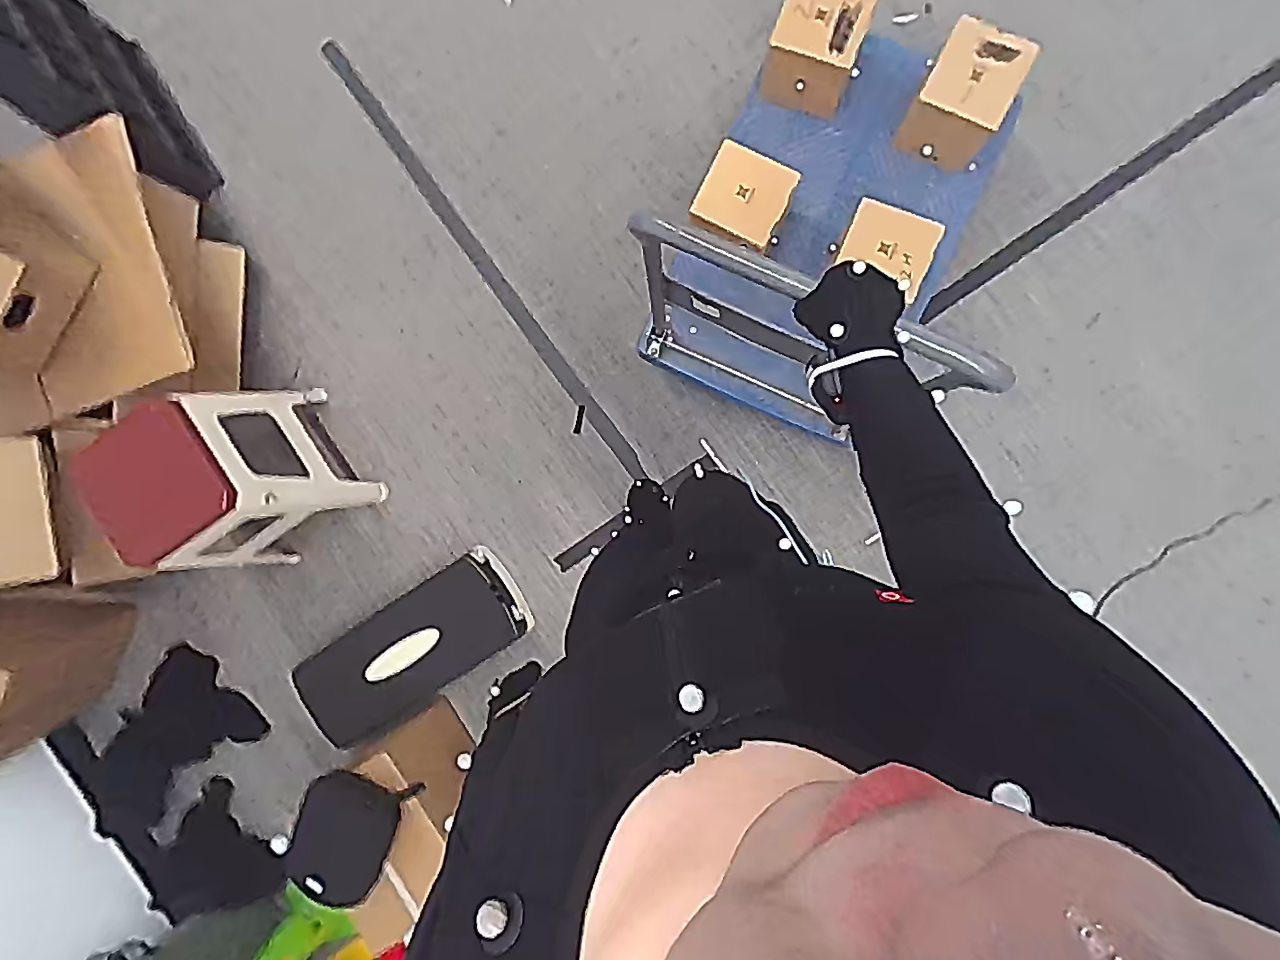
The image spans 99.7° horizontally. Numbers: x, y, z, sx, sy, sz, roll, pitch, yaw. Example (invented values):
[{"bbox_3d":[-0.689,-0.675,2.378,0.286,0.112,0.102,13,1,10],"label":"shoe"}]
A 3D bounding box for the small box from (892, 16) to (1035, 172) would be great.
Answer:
[{"bbox_3d":[0.664,-0.798,1.135,0.168,0.176,0.179,26,95,4],"label":"small box"}]

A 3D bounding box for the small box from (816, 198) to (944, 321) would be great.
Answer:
[{"bbox_3d":[0.502,-0.462,1.163,0.179,0.176,0.168,23,94,4],"label":"small box"}]

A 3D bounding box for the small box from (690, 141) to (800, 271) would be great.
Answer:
[{"bbox_3d":[0.220,-0.588,1.187,0.179,0.176,0.168,27,94,3],"label":"small box"}]
